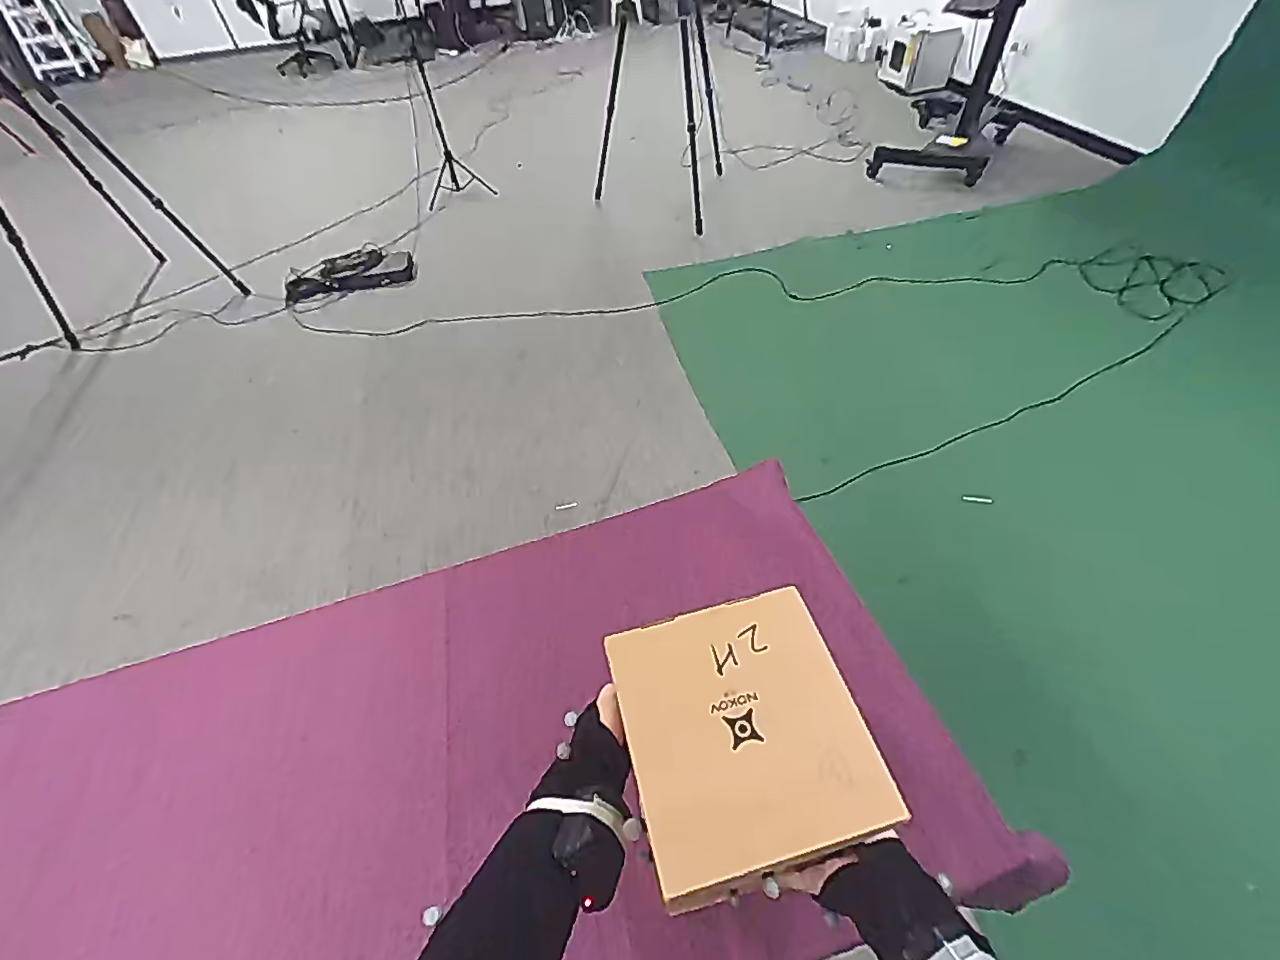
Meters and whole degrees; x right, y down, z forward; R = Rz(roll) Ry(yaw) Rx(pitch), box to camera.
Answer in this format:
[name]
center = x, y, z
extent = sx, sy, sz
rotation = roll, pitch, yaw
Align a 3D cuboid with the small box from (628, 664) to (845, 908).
[small box]
center = 0.088, 0.329, 0.580
extent = 0.168, 0.176, 0.179
rotation = -13, 50, -5
